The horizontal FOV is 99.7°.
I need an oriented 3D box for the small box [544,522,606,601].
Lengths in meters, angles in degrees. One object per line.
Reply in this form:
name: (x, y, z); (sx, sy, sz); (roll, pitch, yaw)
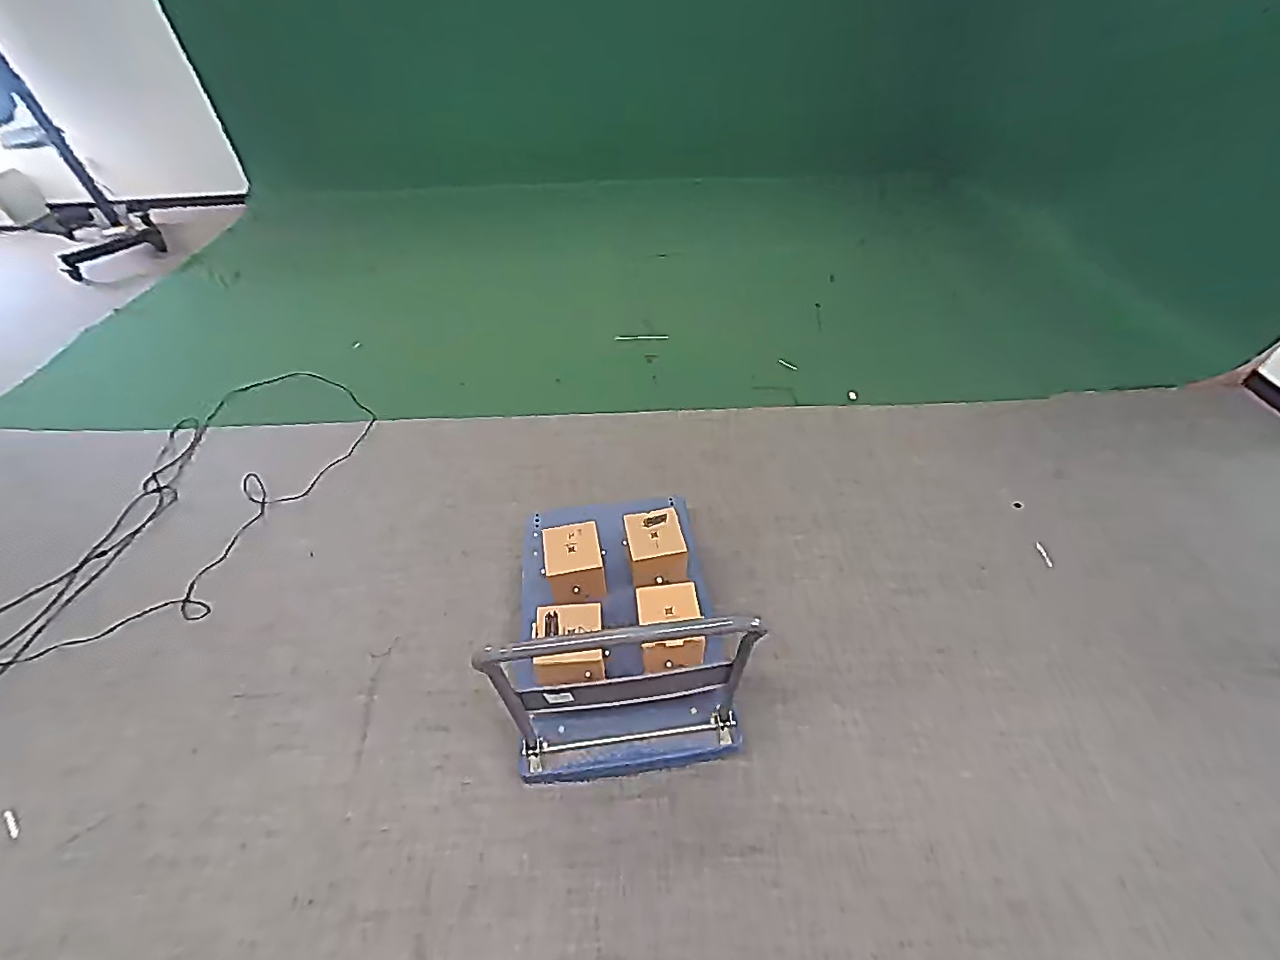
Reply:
small box: (-0.200, 0.259, 1.681); (0.168, 0.176, 0.179); (-9, 47, -7)

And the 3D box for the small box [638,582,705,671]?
small box: (0.082, 0.413, 1.525); (0.168, 0.176, 0.179); (-6, 47, -3)

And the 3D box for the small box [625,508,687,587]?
small box: (0.047, 0.218, 1.709); (0.168, 0.176, 0.179); (-10, 48, -5)
